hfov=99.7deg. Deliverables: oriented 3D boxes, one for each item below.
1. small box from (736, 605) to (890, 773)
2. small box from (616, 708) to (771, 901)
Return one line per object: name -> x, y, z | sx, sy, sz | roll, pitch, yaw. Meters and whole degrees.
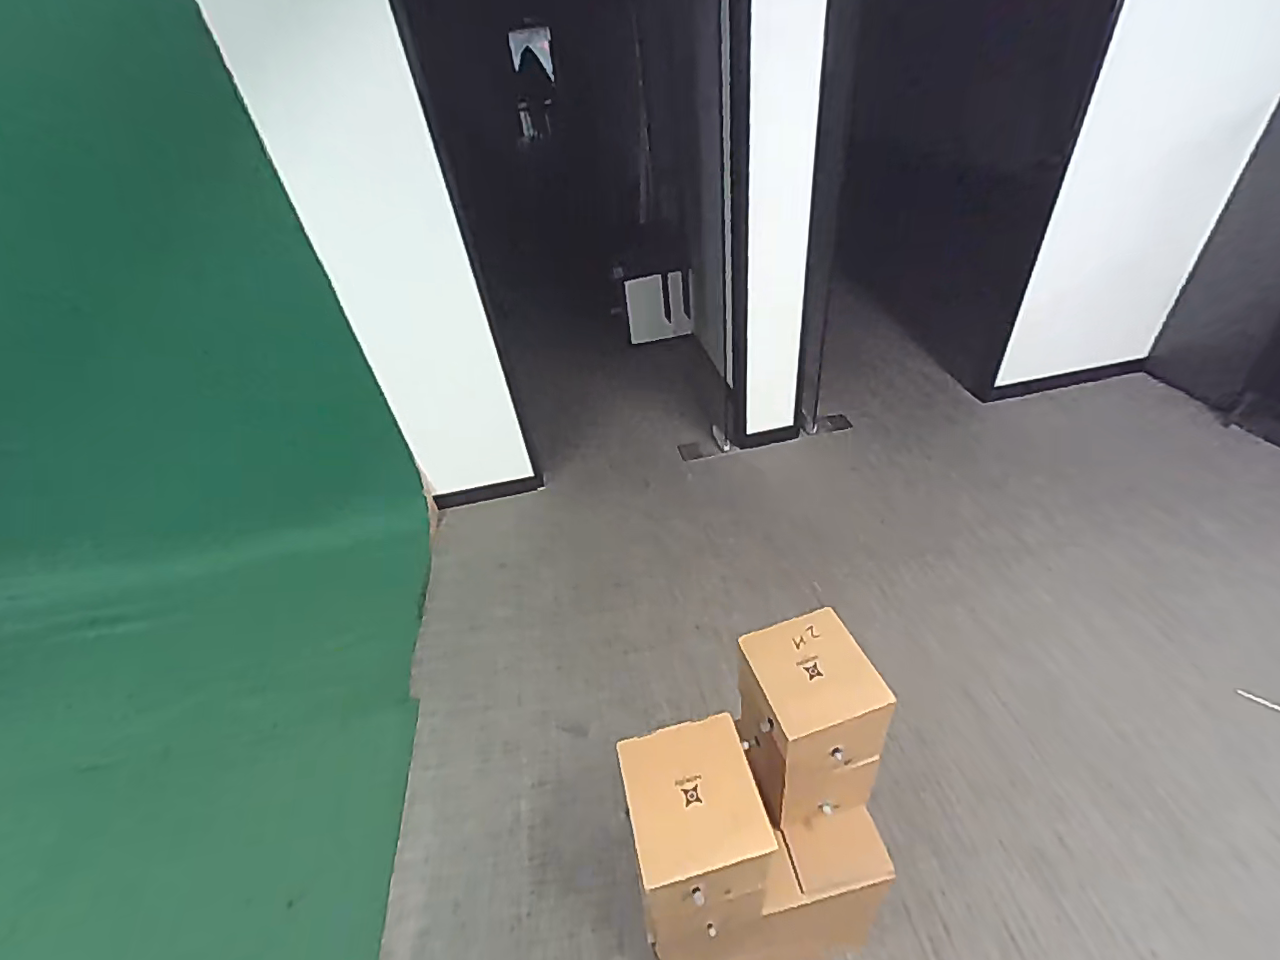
small box -> 0.263, 0.336, 0.857 | 0.168, 0.176, 0.179 | -16, 40, -6
small box -> 0.072, 0.456, 0.754 | 0.168, 0.176, 0.179 | -13, 42, -6
